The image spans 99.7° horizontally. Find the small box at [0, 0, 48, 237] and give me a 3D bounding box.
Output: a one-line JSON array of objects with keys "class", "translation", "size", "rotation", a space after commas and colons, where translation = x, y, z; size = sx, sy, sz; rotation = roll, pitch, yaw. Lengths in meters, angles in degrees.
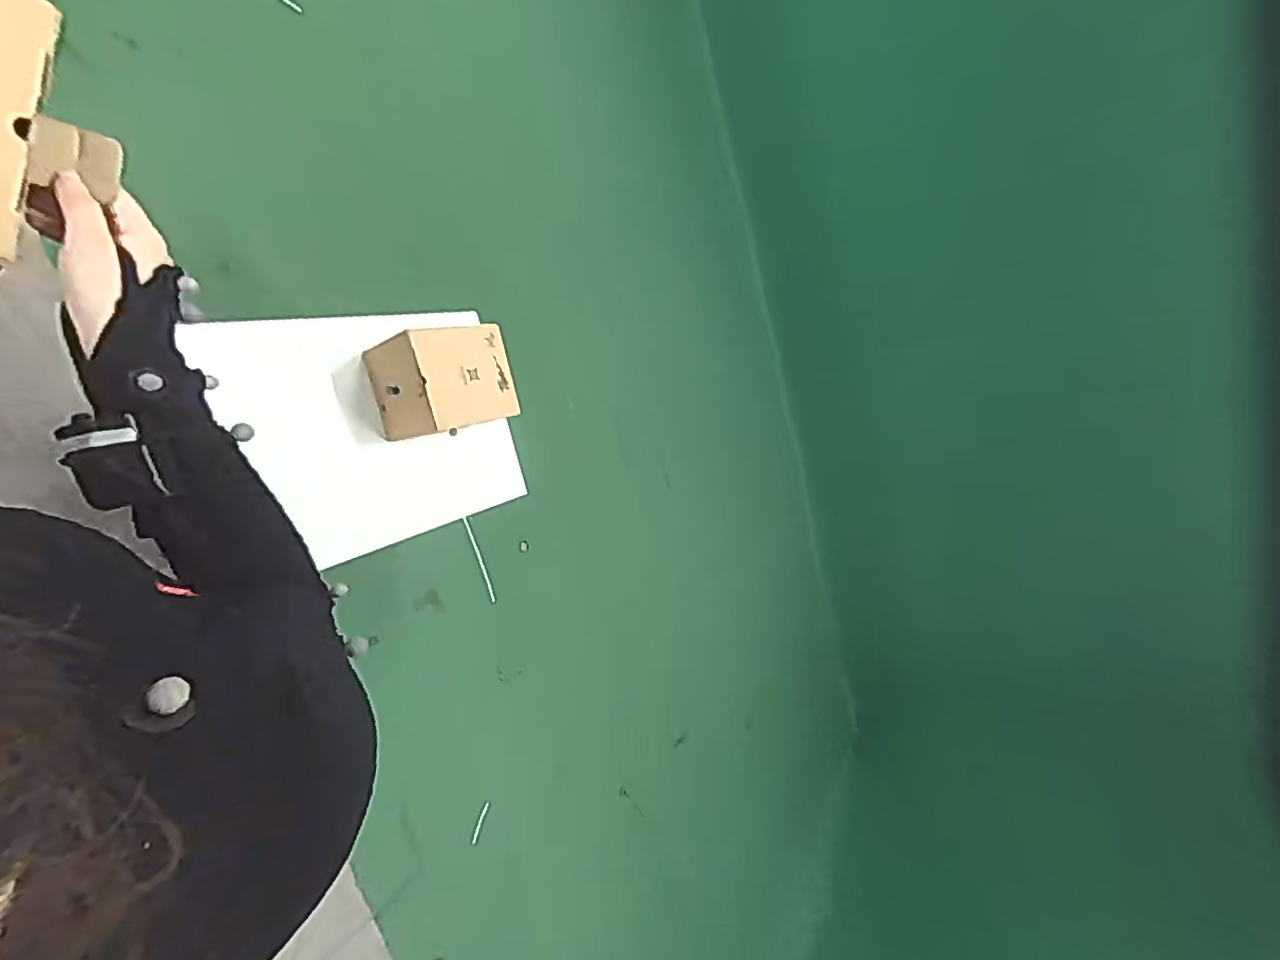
[{"class": "small box", "translation": [-0.476, -0.229, 0.289], "size": [0.179, 0.176, 0.168], "rotation": [11, 85, -58]}]

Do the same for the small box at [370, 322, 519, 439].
[{"class": "small box", "translation": [-0.348, -0.172, 0.950], "size": [0.179, 0.176, 0.168], "rotation": [-22, 104, -48]}]
